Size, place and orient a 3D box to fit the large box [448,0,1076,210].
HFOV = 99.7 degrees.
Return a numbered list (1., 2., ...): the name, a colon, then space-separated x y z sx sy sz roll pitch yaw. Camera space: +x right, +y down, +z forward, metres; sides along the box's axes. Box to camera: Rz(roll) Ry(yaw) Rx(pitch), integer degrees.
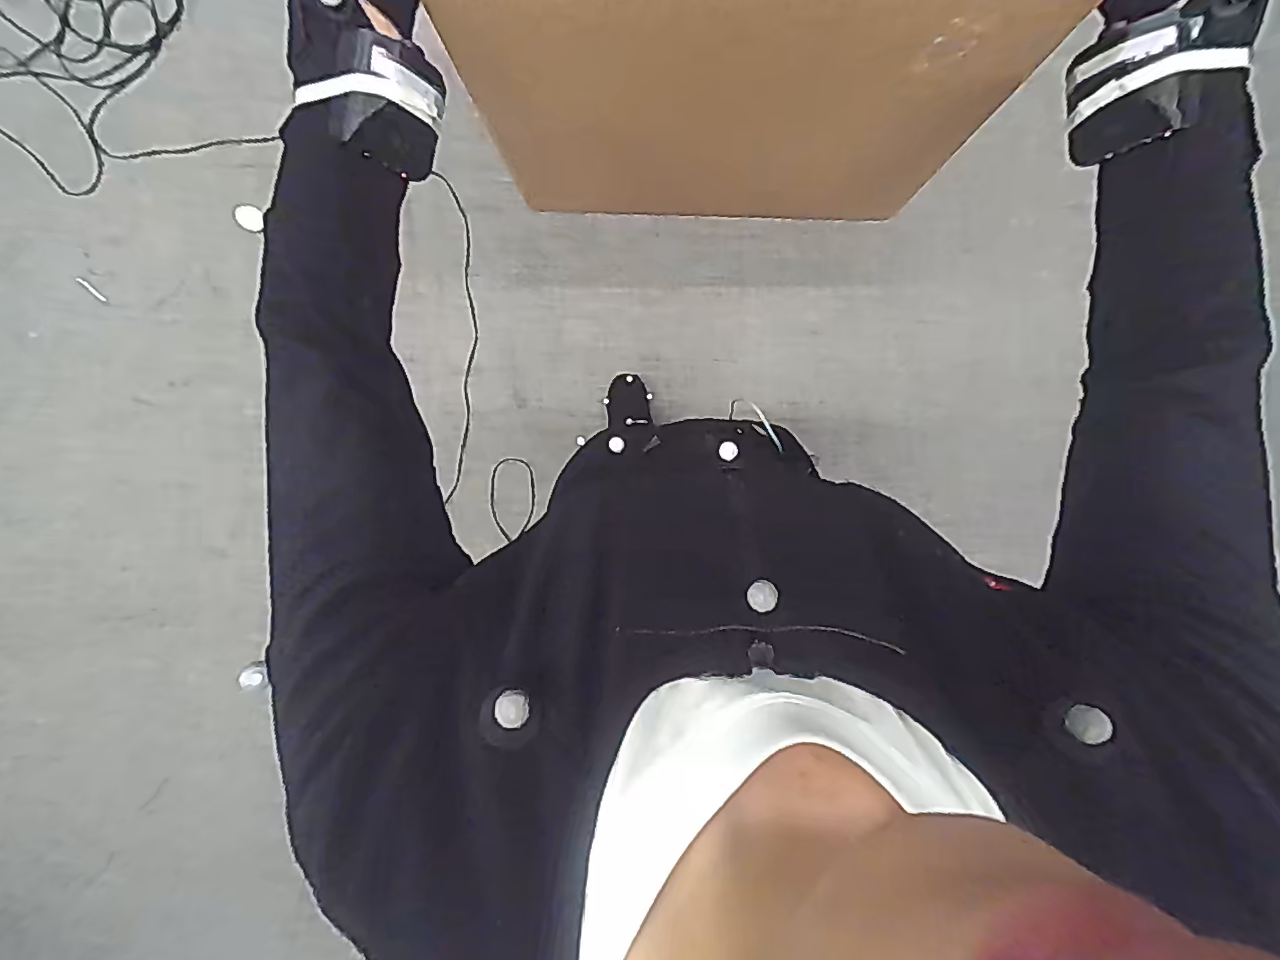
1. large box: 0.077 -0.448 0.449 0.408 0.320 0.320 1 93 1
